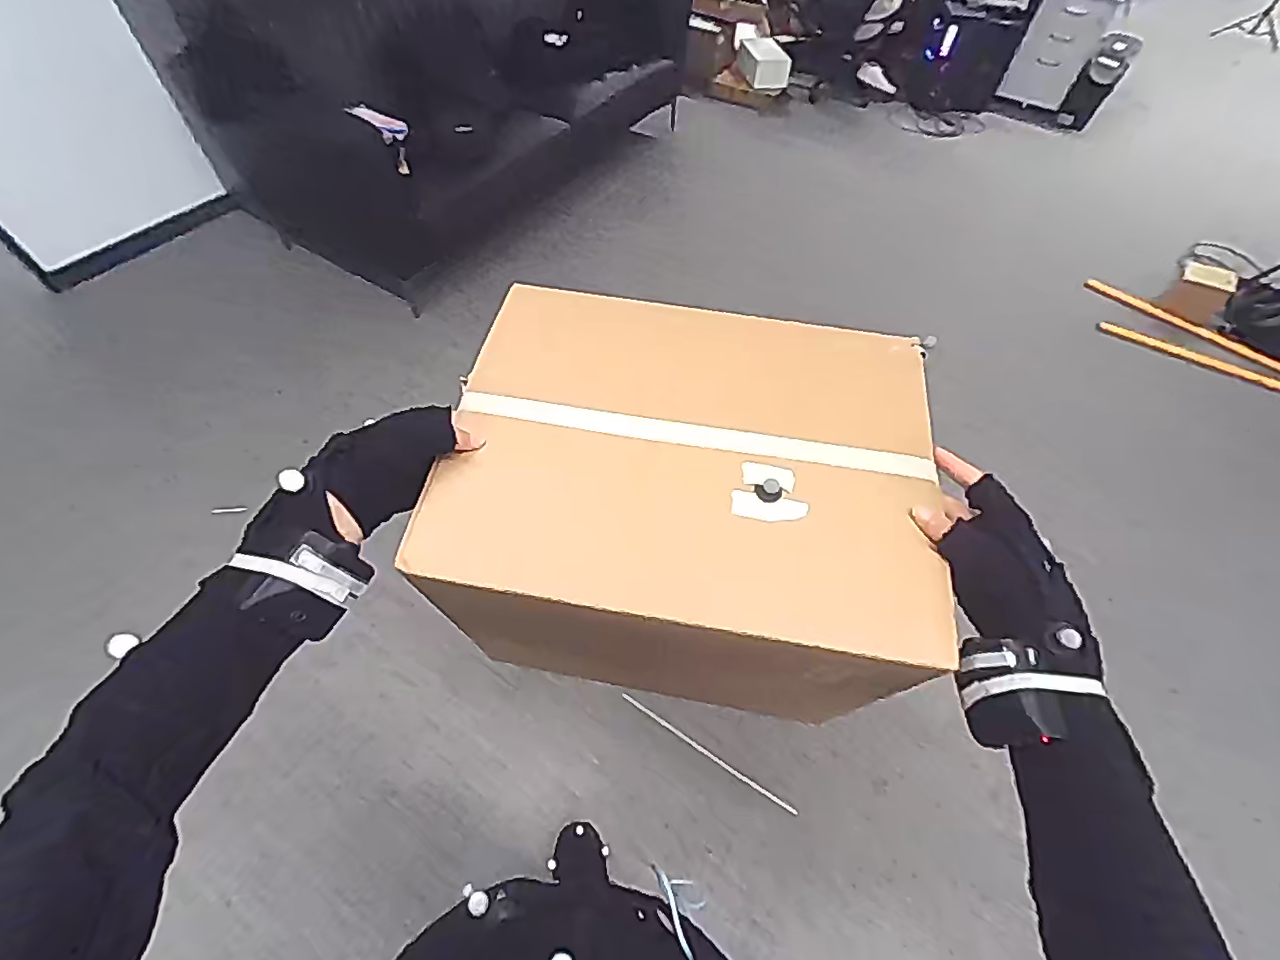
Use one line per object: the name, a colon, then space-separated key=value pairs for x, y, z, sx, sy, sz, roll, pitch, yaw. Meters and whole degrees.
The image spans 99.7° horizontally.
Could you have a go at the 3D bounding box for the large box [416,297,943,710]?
large box: x=0.039 y=0.042 z=0.600 sx=0.408 sy=0.320 sz=0.320 roll=9 pitch=60 yaw=3
